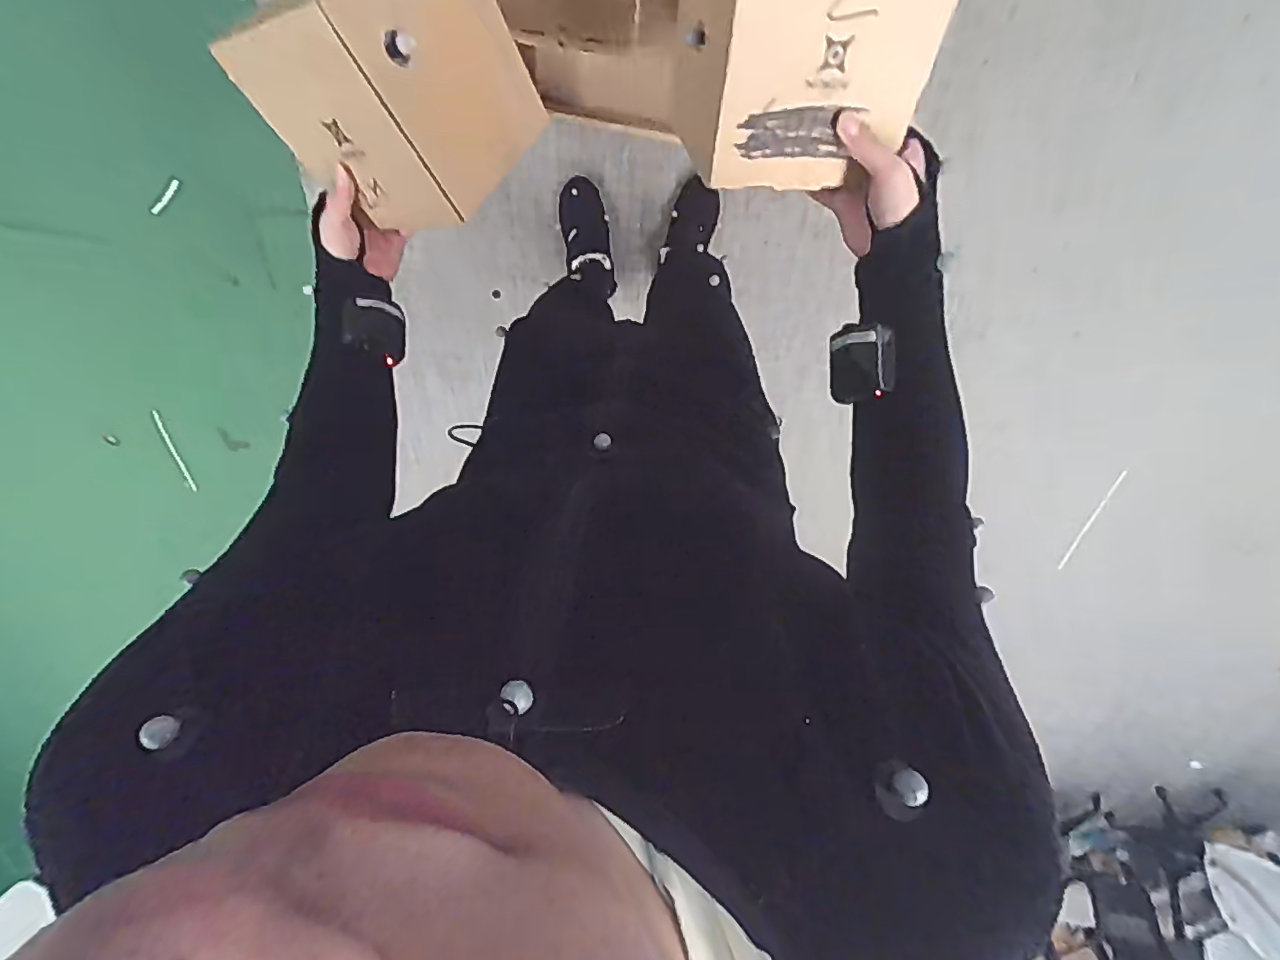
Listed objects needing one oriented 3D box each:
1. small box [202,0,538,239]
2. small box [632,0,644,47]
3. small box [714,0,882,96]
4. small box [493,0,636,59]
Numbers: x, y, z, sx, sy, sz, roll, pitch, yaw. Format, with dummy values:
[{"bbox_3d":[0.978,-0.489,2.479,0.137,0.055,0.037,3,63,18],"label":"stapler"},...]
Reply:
[{"bbox_3d":[-0.227,-0.353,0.497,0.168,0.176,0.179,13,155,29],"label":"small box"},{"bbox_3d":[-0.079,-0.743,0.786,0.179,0.176,0.168,5,125,-6],"label":"small box"},{"bbox_3d":[0.197,-0.607,0.684,0.168,0.176,0.179,7,124,-7],"label":"small box"},{"bbox_3d":[-0.084,-0.641,0.661,0.168,0.176,0.179,4,124,-4],"label":"small box"}]
